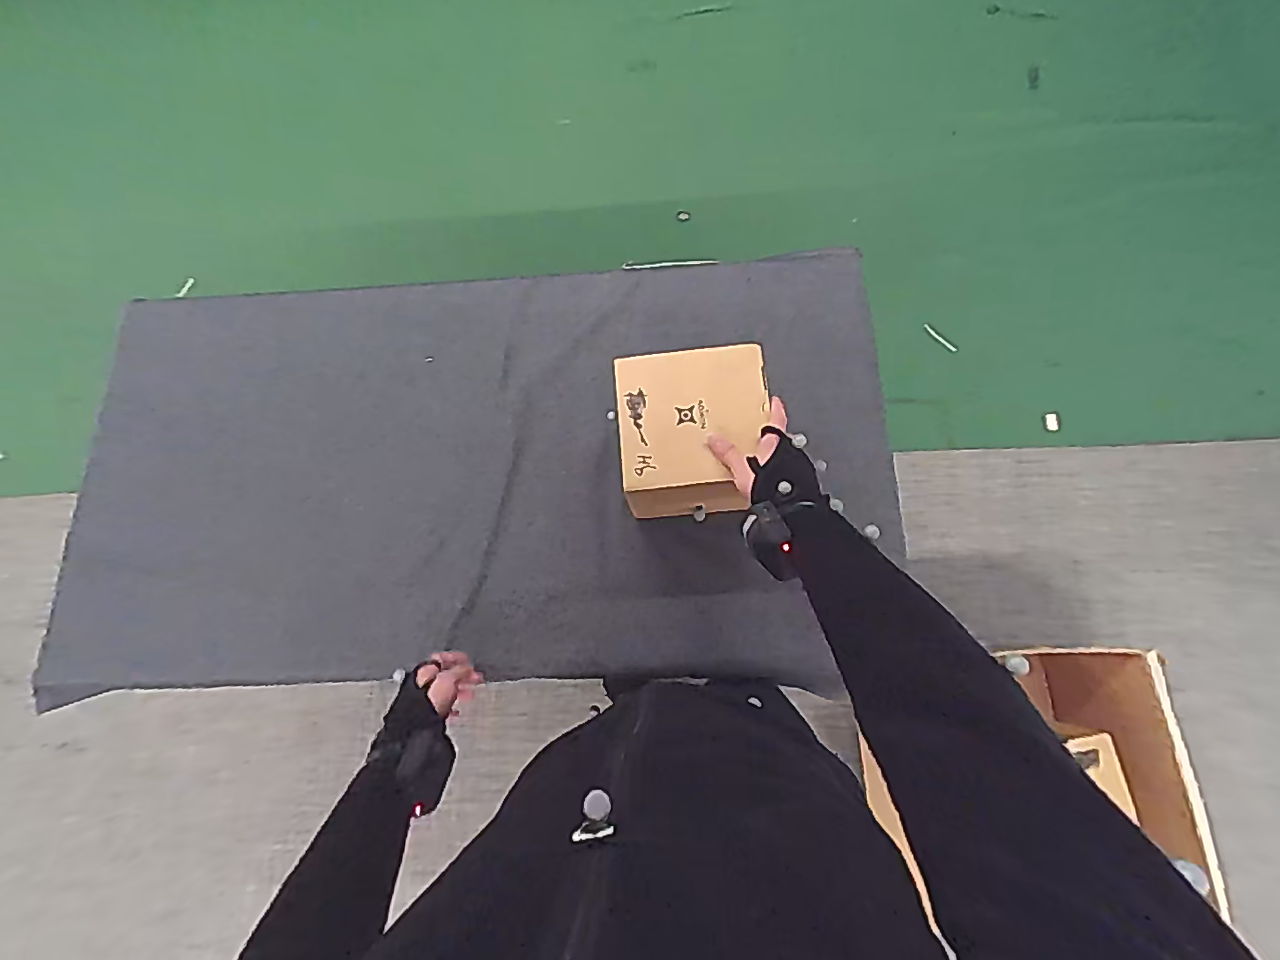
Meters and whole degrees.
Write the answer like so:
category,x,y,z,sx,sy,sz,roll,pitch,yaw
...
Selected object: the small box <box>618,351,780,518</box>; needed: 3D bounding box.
category,x,y,z,sx,sy,sz,roll,pitch,yaw
small box,0.071,-0.050,0.714,0.179,0.176,0.168,-8,76,3
